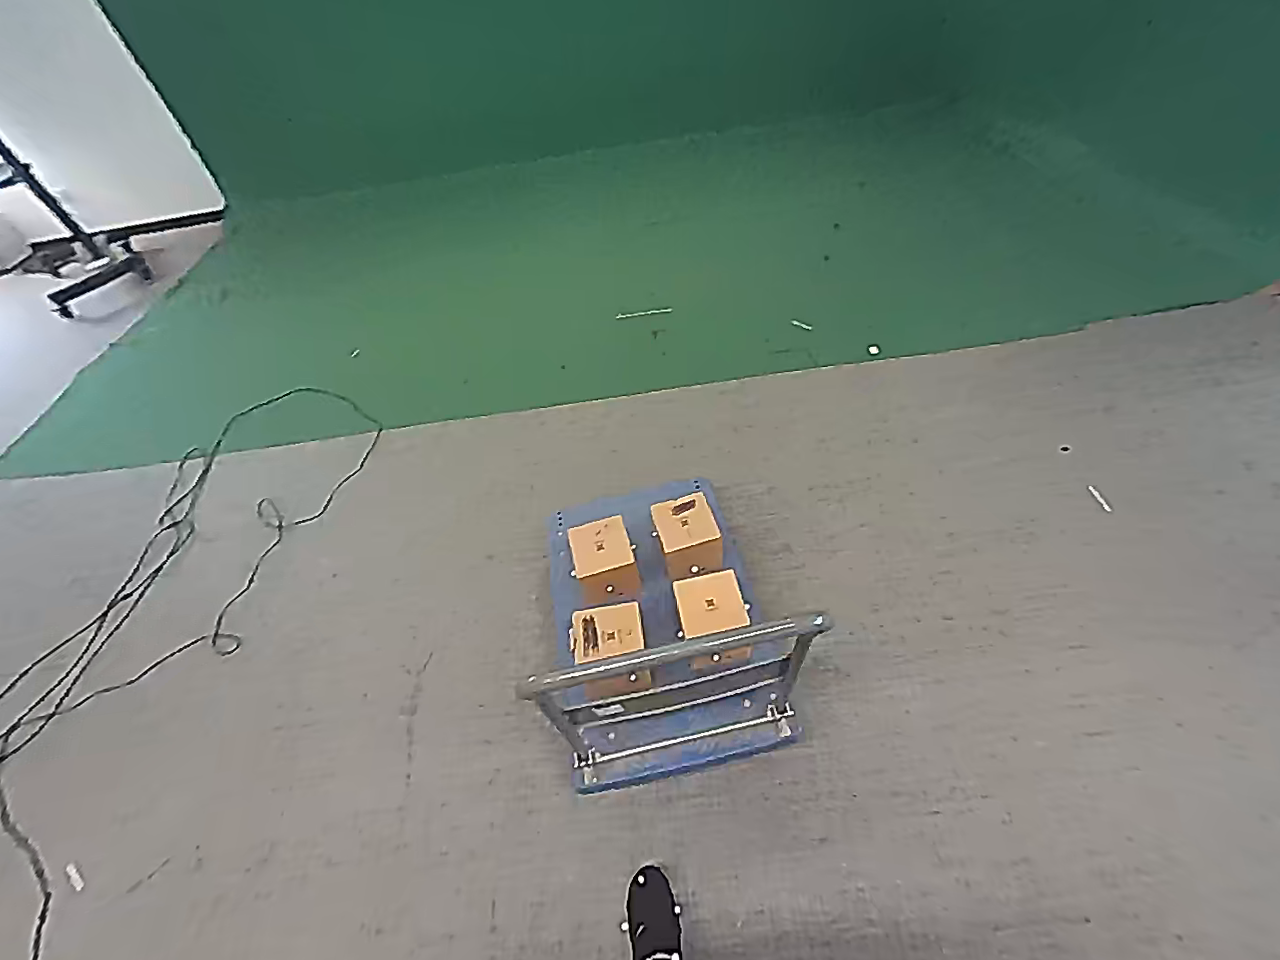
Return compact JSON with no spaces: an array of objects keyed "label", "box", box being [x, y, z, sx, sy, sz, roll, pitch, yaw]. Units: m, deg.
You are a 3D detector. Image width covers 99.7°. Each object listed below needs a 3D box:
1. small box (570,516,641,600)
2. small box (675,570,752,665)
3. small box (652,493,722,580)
[{"label":"small box","box":[-0.100,0.240,1.610,0.168,0.176,0.179,-15,49,-5]},{"label":"small box","box":[0.193,0.370,1.453,0.168,0.176,0.179,-12,49,-1]},{"label":"small box","box":[0.142,0.171,1.629,0.168,0.176,0.179,-16,50,-3]}]
